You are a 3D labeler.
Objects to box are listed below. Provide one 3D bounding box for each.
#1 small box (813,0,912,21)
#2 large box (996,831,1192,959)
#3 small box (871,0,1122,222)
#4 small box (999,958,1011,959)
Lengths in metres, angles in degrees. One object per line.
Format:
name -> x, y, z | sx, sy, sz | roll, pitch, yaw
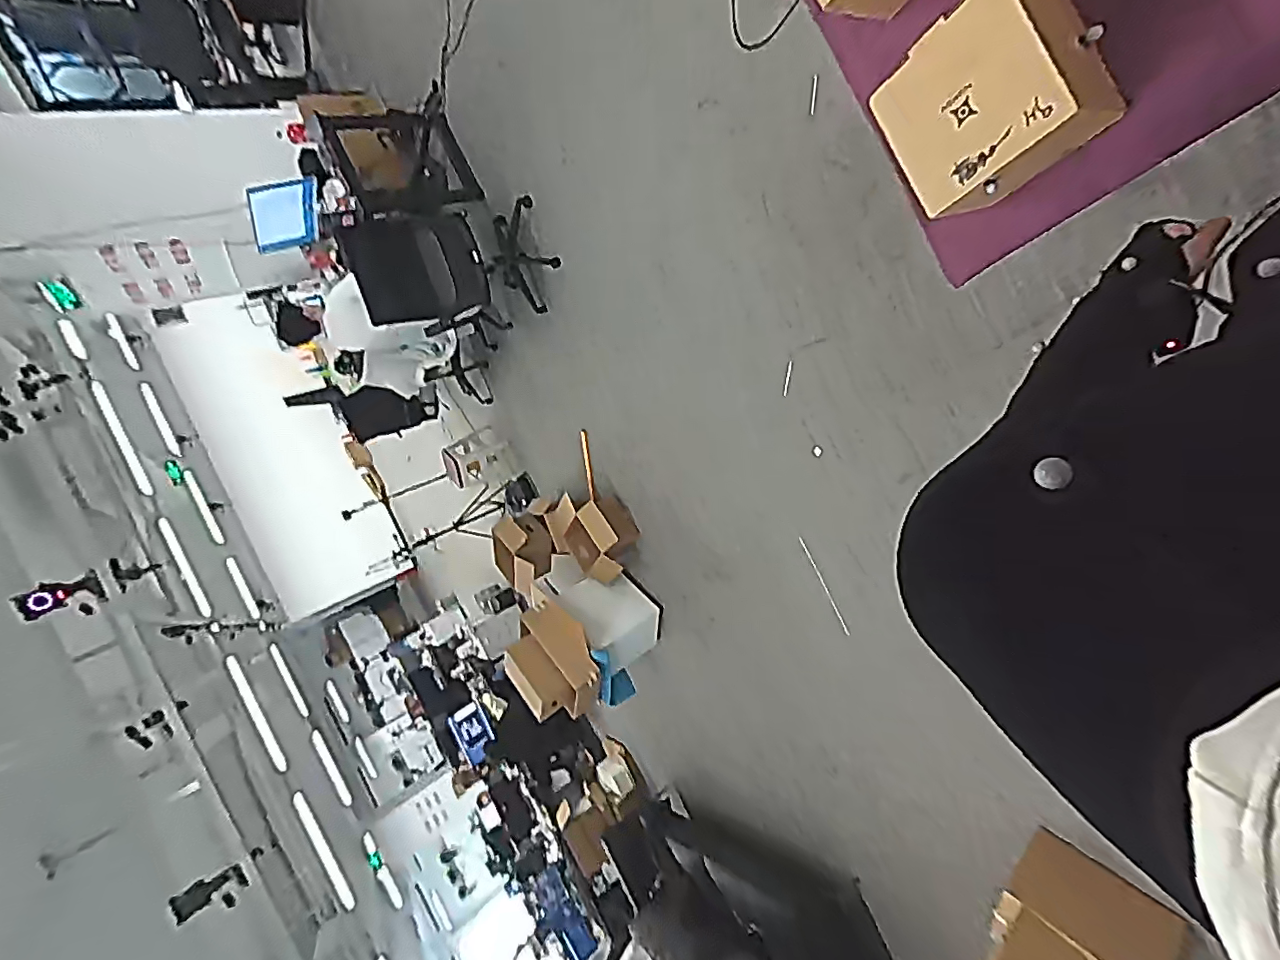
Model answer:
small box -> 0.299, -0.707, 0.655 | 0.179, 0.176, 0.168 | -26, 91, 58
large box -> 1.480, 1.493, 1.790 | 0.408, 0.320, 0.320 | 23, 131, 46
small box -> 0.426, -0.444, 0.654 | 0.168, 0.176, 0.179 | -30, 85, 60
small box -> 1.117, 1.575, 1.599 | 0.179, 0.176, 0.168 | 27, 132, 43
